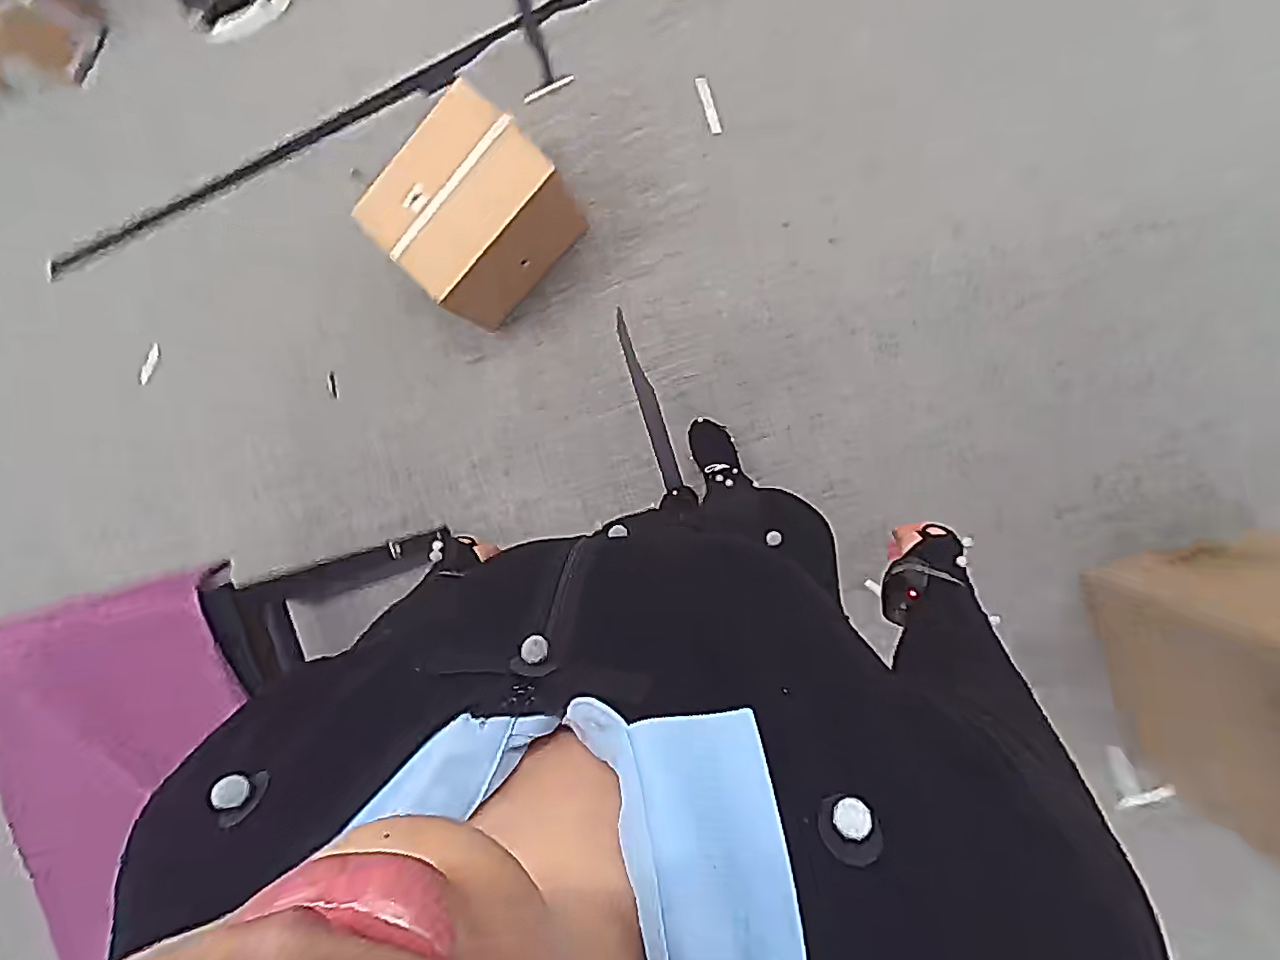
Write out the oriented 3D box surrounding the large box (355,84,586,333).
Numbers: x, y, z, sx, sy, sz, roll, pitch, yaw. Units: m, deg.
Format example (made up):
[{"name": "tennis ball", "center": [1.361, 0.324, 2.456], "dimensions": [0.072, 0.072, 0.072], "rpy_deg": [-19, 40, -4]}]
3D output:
[{"name": "large box", "center": [-0.405, -0.650, 1.369], "dimensions": [0.320, 0.320, 0.408], "rpy_deg": [45, 100, 5]}]
